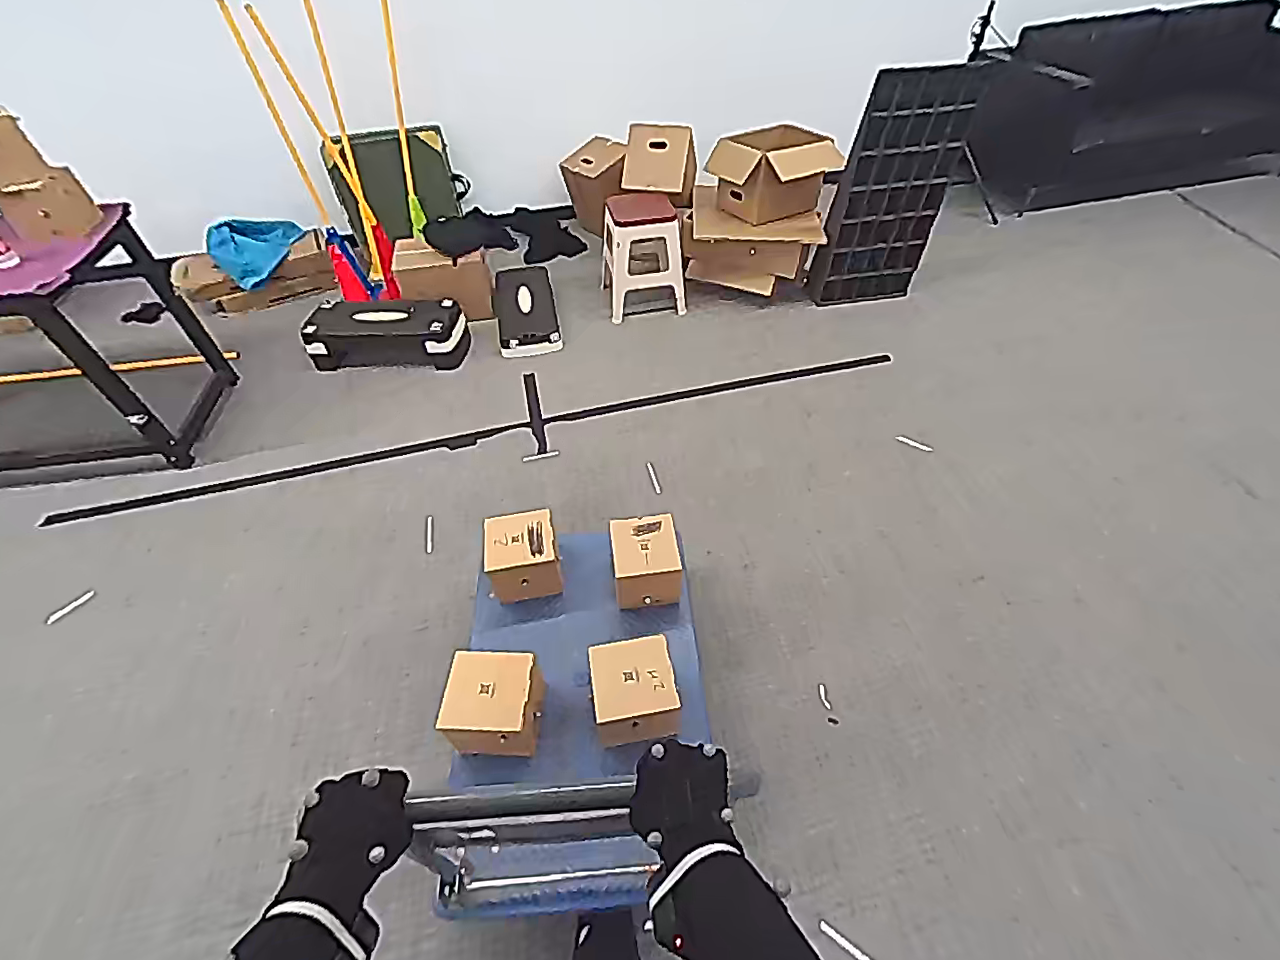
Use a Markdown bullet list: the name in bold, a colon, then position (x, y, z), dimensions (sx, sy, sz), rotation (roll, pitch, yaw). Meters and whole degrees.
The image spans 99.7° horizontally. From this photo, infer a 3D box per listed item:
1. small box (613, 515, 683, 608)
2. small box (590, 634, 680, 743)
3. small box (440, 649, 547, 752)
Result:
- **small box**: position (0.017, 0.218, 1.435), dimensions (0.168, 0.176, 0.179), rotation (-6, 50, -4)
- **small box**: position (-0.011, 0.470, 1.211), dimensions (0.179, 0.176, 0.168), rotation (-8, 49, -6)
- **small box**: position (-0.315, 0.492, 1.200), dimensions (0.179, 0.176, 0.168), rotation (2, 48, 1)
